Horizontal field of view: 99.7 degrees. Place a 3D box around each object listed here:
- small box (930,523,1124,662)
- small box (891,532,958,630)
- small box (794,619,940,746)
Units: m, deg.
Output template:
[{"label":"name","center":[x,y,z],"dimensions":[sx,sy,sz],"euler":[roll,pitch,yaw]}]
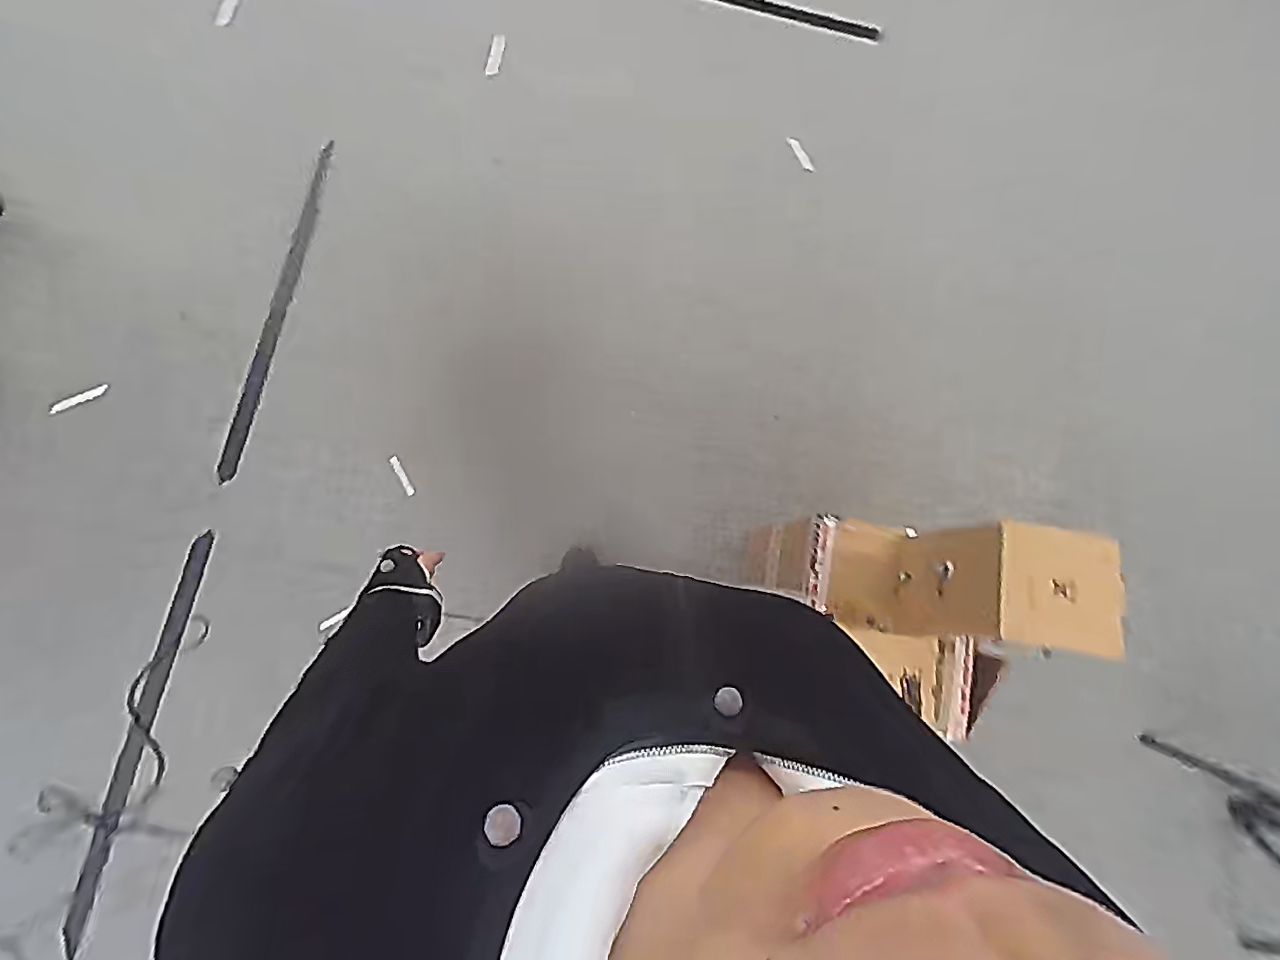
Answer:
[{"label":"small box","center":[0.575,0.167,0.819],"dimensions":[0.179,0.176,0.168],"euler":[10,78,0]},{"label":"small box","center":[0.588,0.194,0.980],"dimensions":[0.179,0.176,0.168],"euler":[10,79,-1]},{"label":"small box","center":[0.387,0.342,0.943],"dimensions":[0.179,0.176,0.168],"euler":[9,80,-1]}]
